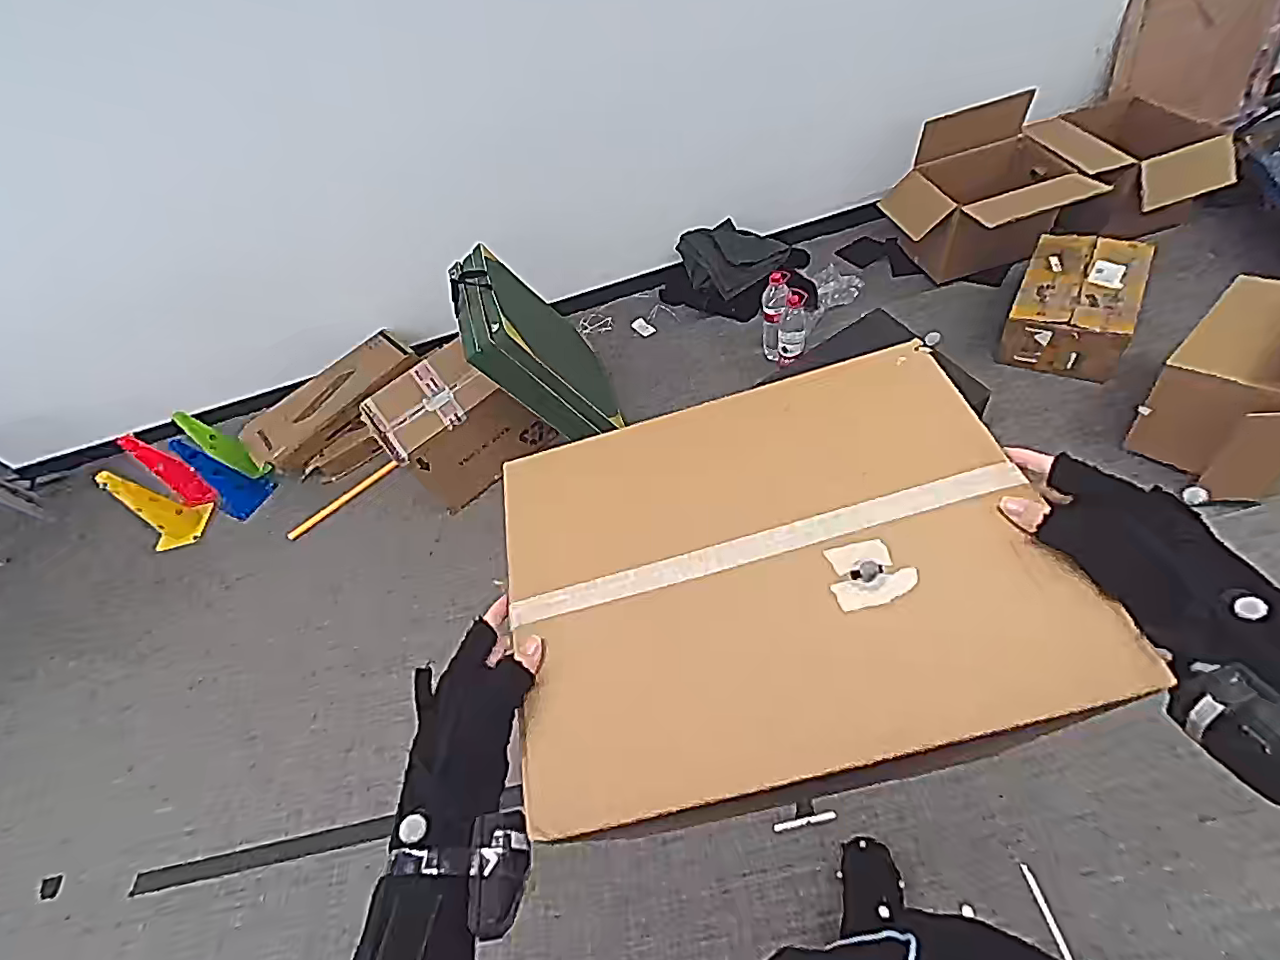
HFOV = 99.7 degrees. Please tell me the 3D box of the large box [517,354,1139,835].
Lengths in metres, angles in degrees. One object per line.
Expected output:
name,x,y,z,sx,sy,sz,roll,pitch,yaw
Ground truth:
large box,0.128,0.137,0.556,0.408,0.320,0.320,-16,56,3
